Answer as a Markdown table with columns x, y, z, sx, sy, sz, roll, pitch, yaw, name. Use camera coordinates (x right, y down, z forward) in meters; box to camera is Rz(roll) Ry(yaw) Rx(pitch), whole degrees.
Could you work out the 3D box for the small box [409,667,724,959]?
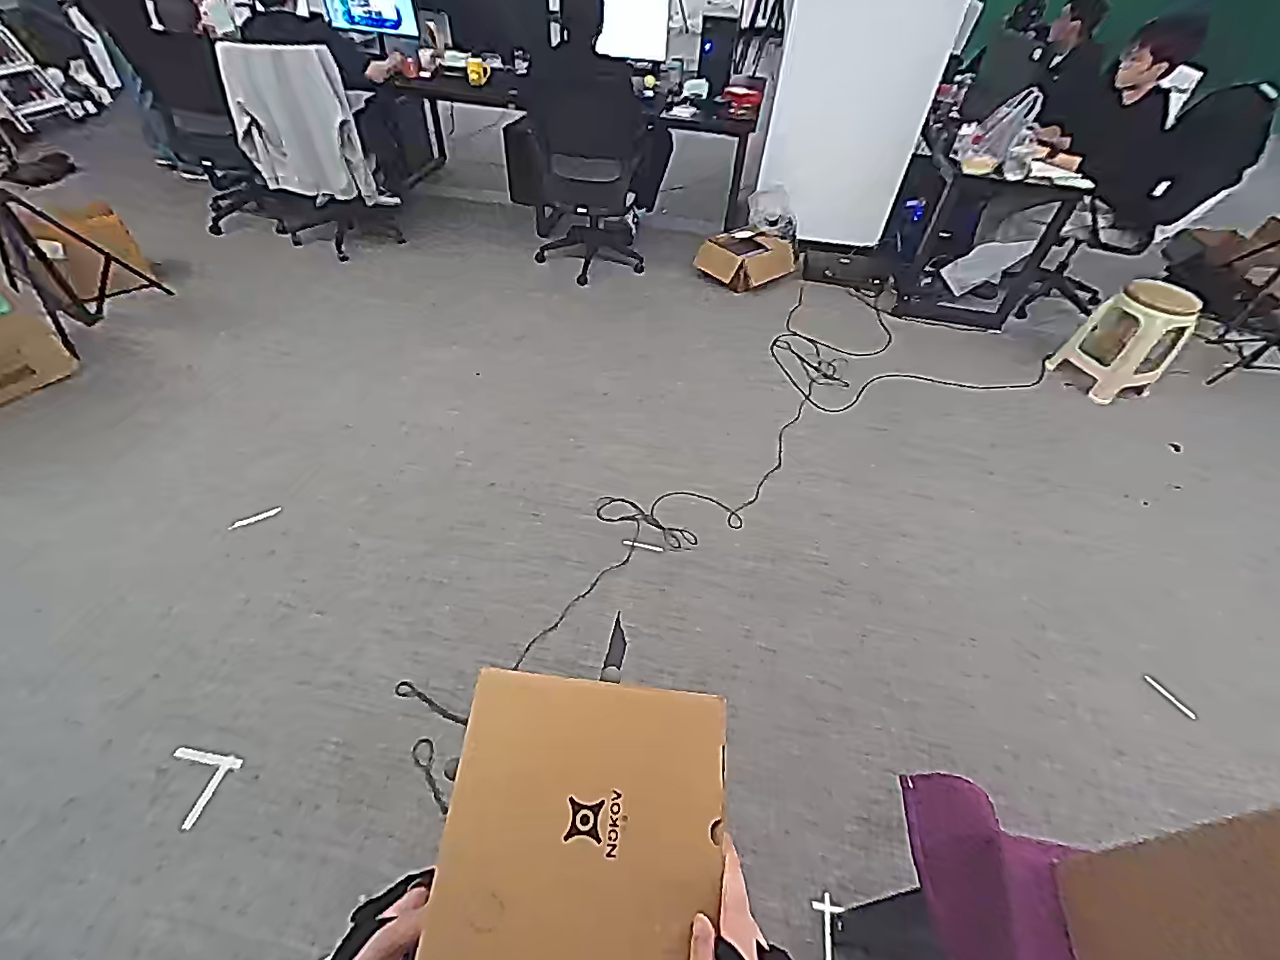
| x | y | z | sx | sy | sz | roll | pitch | yaw | name |
| --- | --- | --- | --- | --- | --- | --- | --- | --- | --- |
| -0.048 | 0.251 | 0.403 | 0.179 | 0.176 | 0.168 | 11 | 59 | -8 | small box |
